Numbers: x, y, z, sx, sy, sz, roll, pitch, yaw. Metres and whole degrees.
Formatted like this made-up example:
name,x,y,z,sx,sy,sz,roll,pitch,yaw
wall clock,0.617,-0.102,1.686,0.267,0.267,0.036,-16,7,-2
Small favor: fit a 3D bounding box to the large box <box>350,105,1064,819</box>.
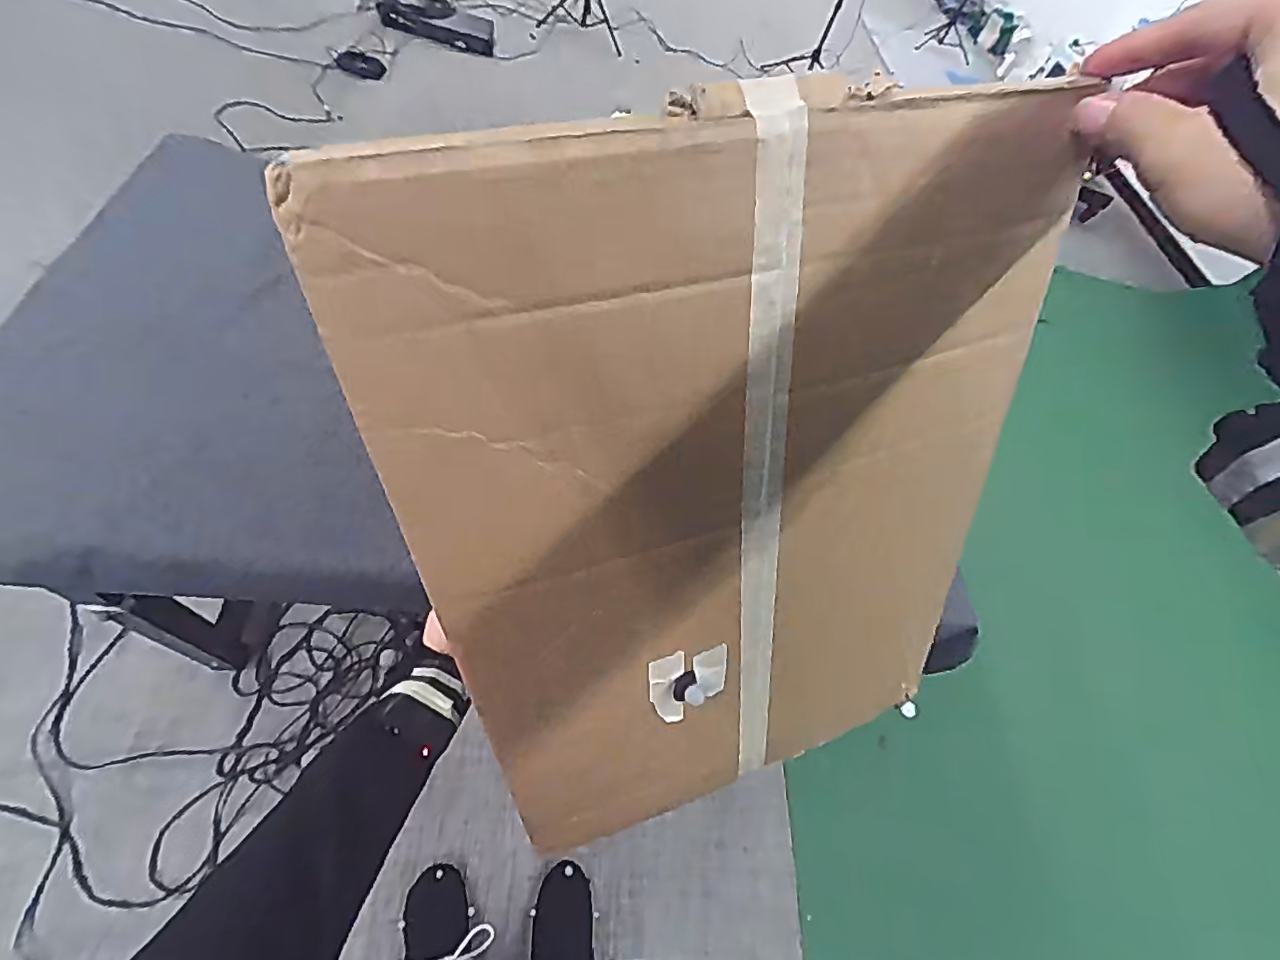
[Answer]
name,x,y,z,sx,sy,sz,roll,pitch,yaw
large box,0.014,-0.035,0.428,0.320,0.408,0.320,-16,36,-14
